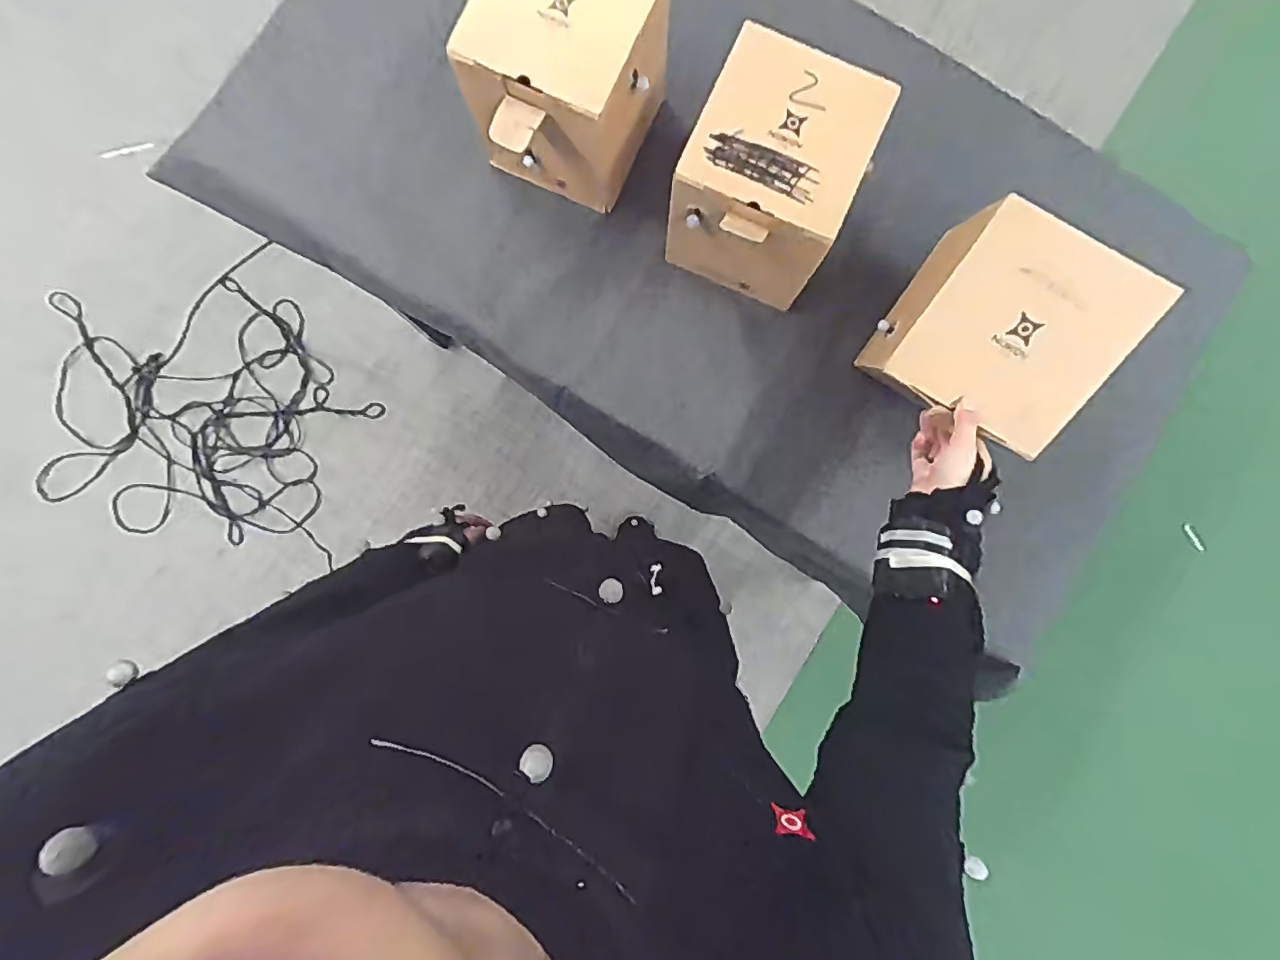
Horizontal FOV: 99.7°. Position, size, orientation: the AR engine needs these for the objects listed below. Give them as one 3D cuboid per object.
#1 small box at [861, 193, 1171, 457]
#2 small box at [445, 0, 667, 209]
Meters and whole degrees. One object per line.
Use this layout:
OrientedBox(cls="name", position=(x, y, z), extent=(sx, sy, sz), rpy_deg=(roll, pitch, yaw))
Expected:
OrientedBox(cls="small box", position=(0.353, -0.151, 0.557), extent=(0.168, 0.176, 0.179), rpy_deg=(31, 107, 2))
OrientedBox(cls="small box", position=(-0.081, -0.447, 0.598), extent=(0.168, 0.176, 0.179), rpy_deg=(23, 87, 1))
